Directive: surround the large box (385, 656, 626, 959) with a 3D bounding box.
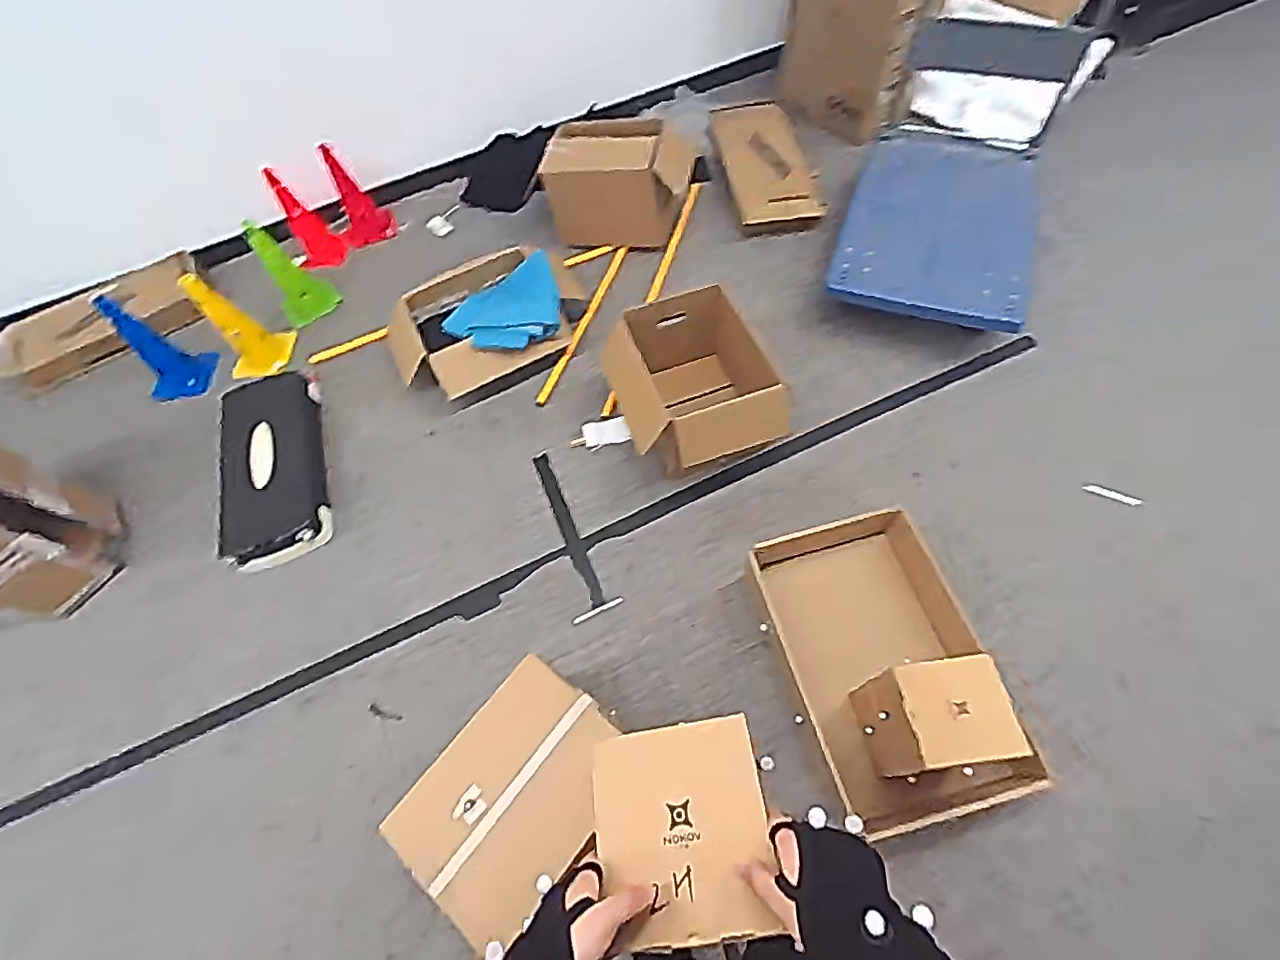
[{"bbox_3d":[-0.212,0.643,1.117,0.320,0.320,0.408,33,70,22],"label":"large box"}]

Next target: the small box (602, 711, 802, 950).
[{"bbox_3d":[0.064,0.360,0.566,0.168,0.176,0.179,-13,56,8],"label":"small box"}]
